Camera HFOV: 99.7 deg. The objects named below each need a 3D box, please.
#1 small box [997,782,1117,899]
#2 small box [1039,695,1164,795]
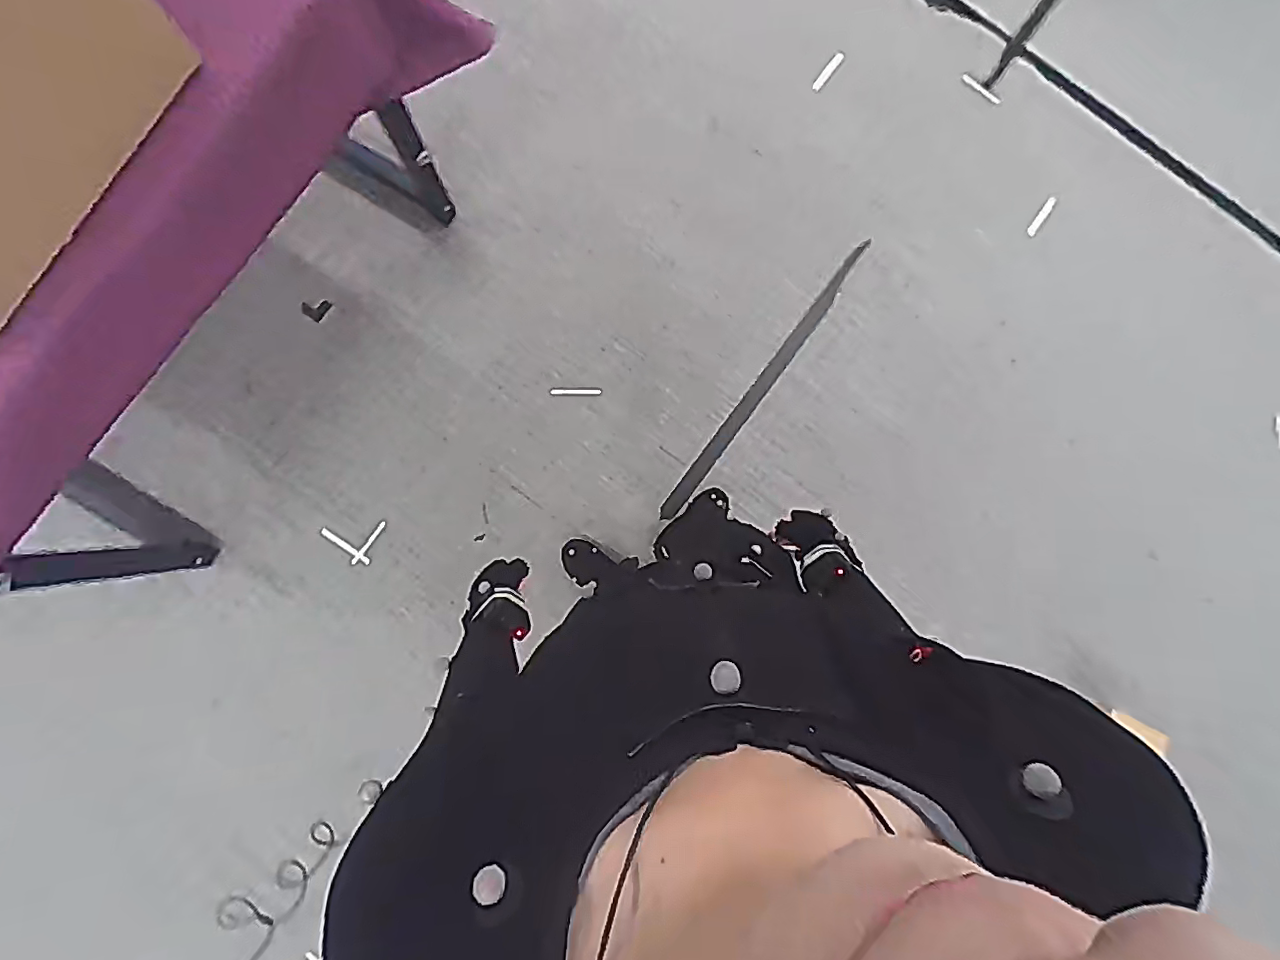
[{"bbox_3d":[1.117,0.962,1.463,0.168,0.176,0.179,30,82,-1],"label":"small box"},{"bbox_3d":[1.264,0.719,1.494,0.179,0.176,0.168,27,85,-3],"label":"small box"}]
